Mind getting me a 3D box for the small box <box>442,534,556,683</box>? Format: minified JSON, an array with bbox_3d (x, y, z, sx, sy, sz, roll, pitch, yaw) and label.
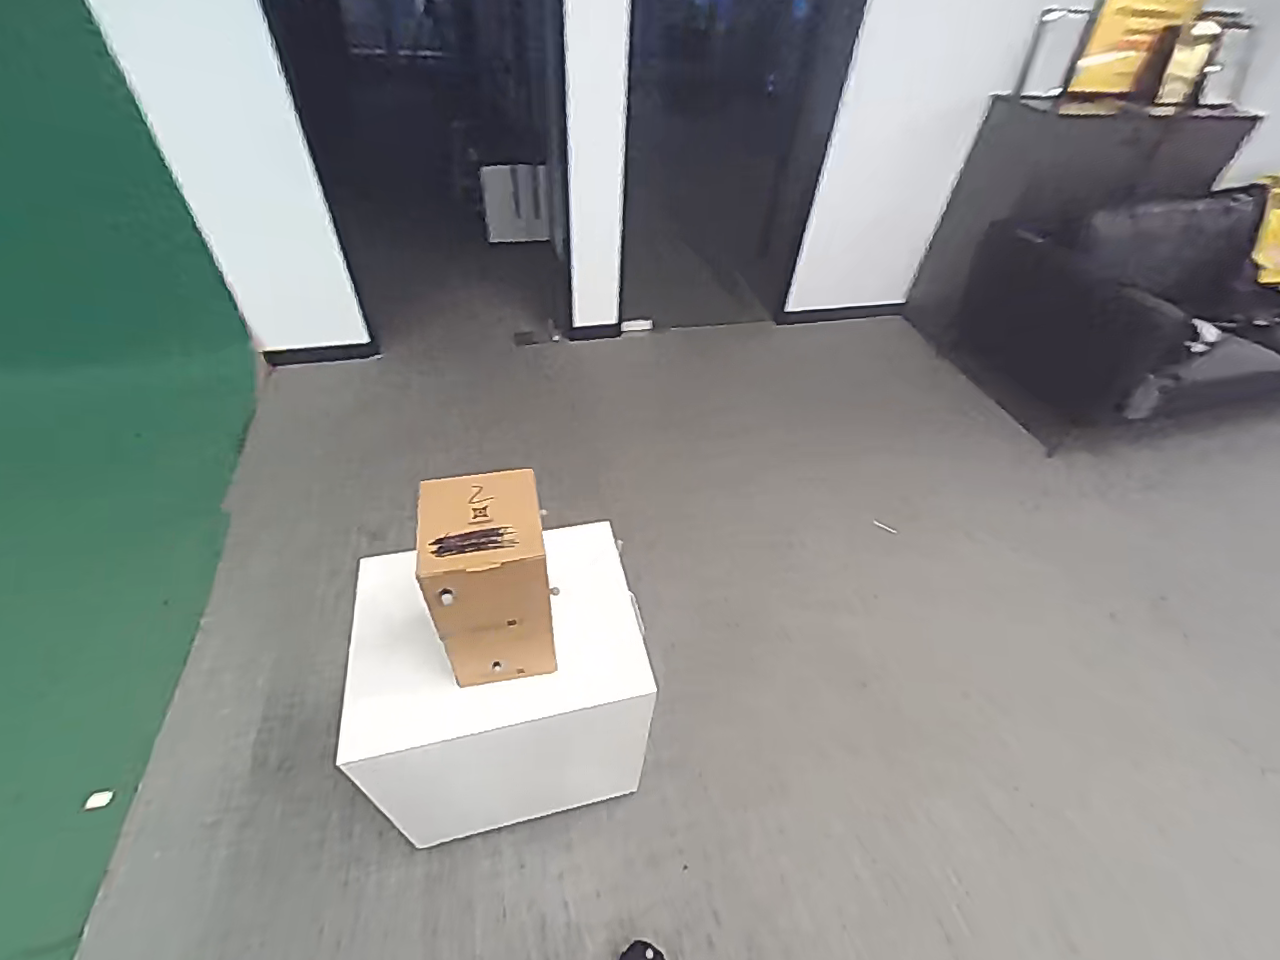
[{"bbox_3d":[-0.233,0.217,0.920,0.168,0.176,0.179,-6,45,-11],"label":"small box"}]
